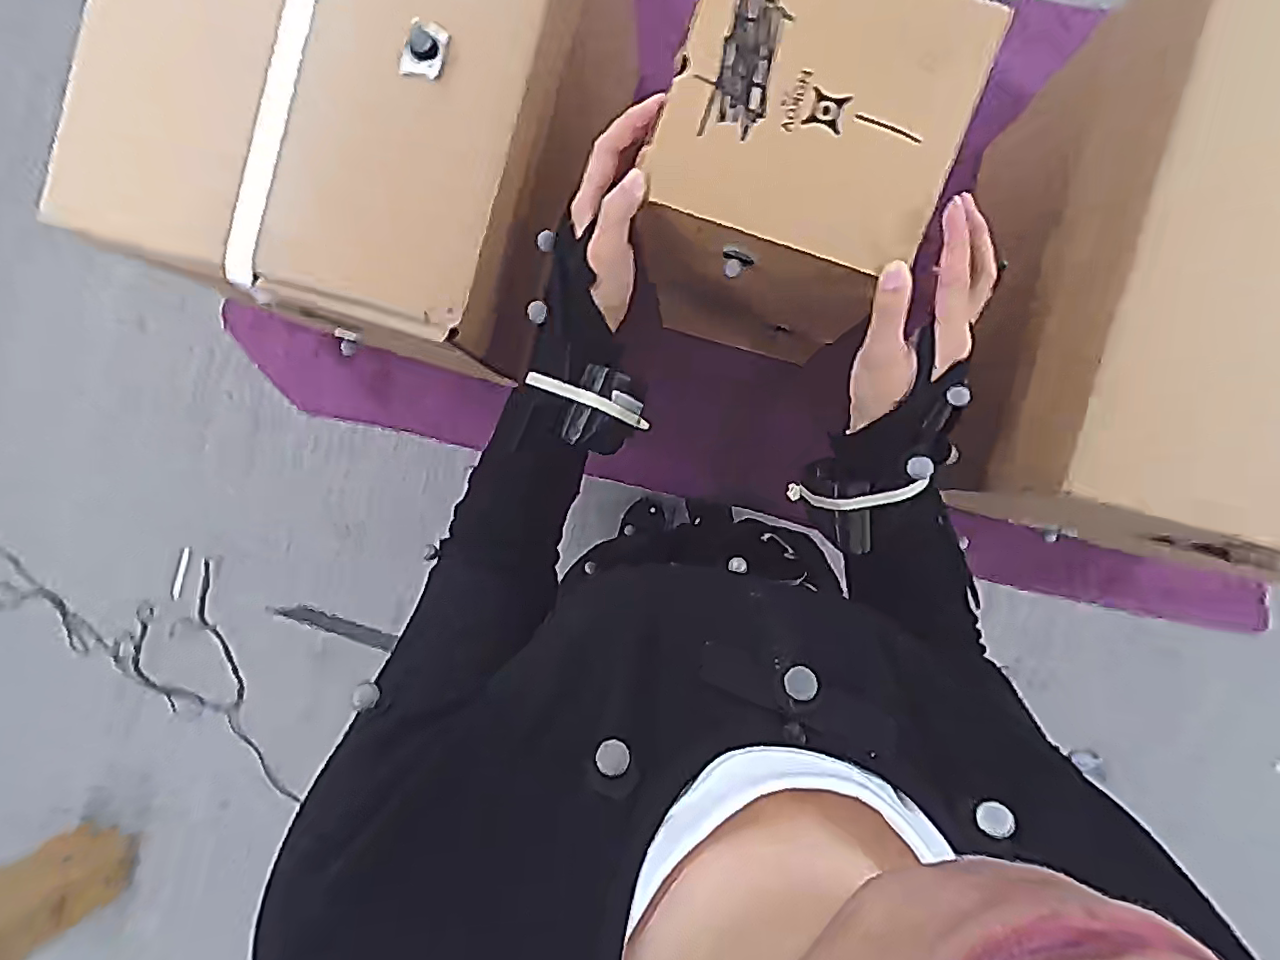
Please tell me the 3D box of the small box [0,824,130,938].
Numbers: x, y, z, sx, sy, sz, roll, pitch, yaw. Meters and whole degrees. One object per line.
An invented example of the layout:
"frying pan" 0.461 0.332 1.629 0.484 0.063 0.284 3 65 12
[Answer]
"small box" -1.544 1.066 1.453 0.179 0.176 0.168 10 92 4

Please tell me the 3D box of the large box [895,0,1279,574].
"large box" 0.468 -0.145 0.459 0.320 0.320 0.408 16 91 4
